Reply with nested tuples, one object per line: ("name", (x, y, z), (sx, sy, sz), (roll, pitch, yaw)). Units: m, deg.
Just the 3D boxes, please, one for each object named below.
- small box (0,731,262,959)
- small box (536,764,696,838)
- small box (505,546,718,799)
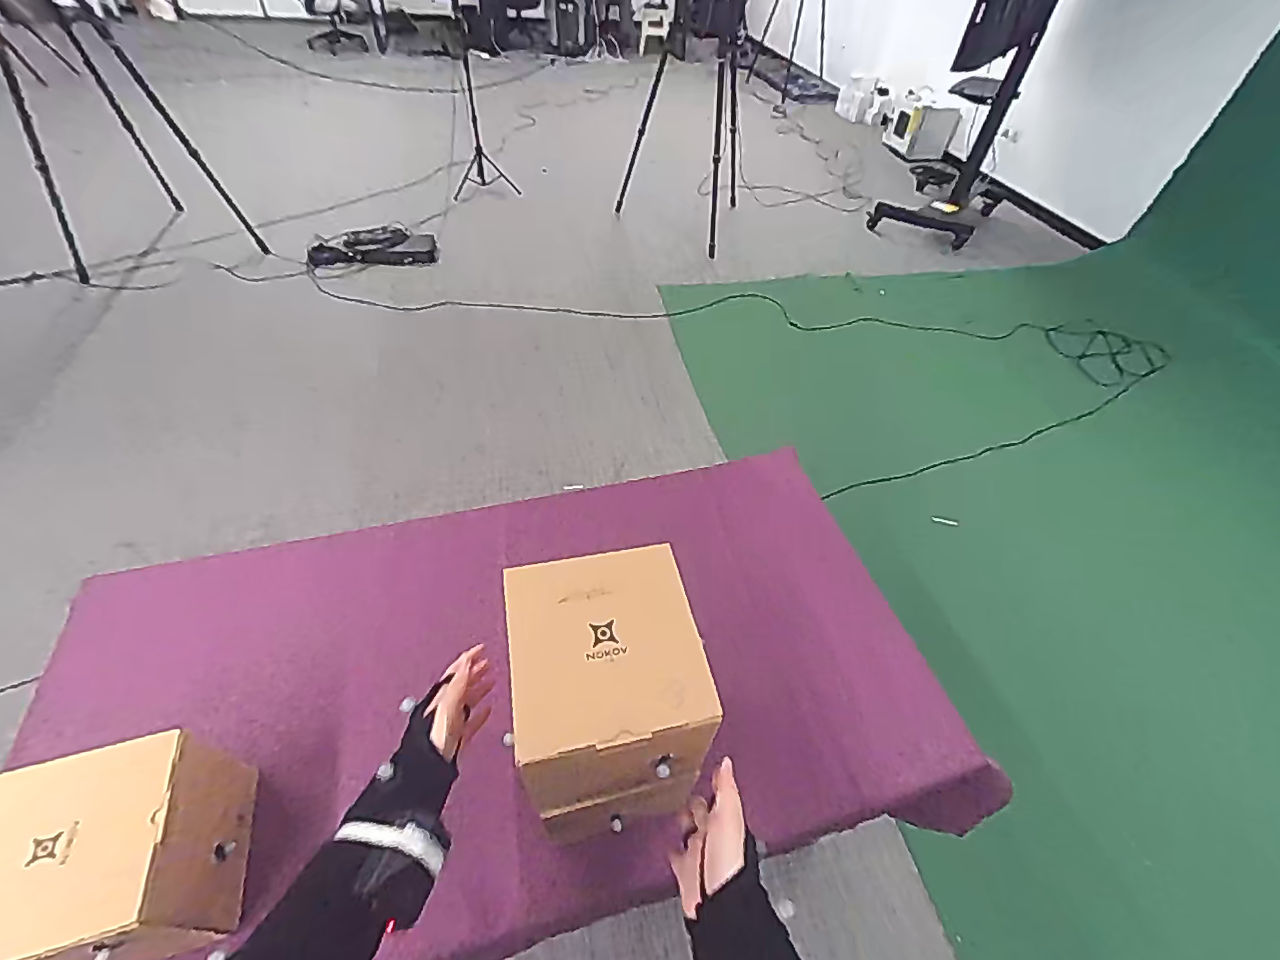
("small box", (-0.528, 0.388, 0.548), (0.179, 0.176, 0.168), (-11, 49, -14))
("small box", (-0.042, 0.306, 0.650), (0.168, 0.176, 0.179), (-9, 48, -12))
("small box", (-0.035, 0.193, 0.532), (0.168, 0.176, 0.179), (-7, 48, -11))
